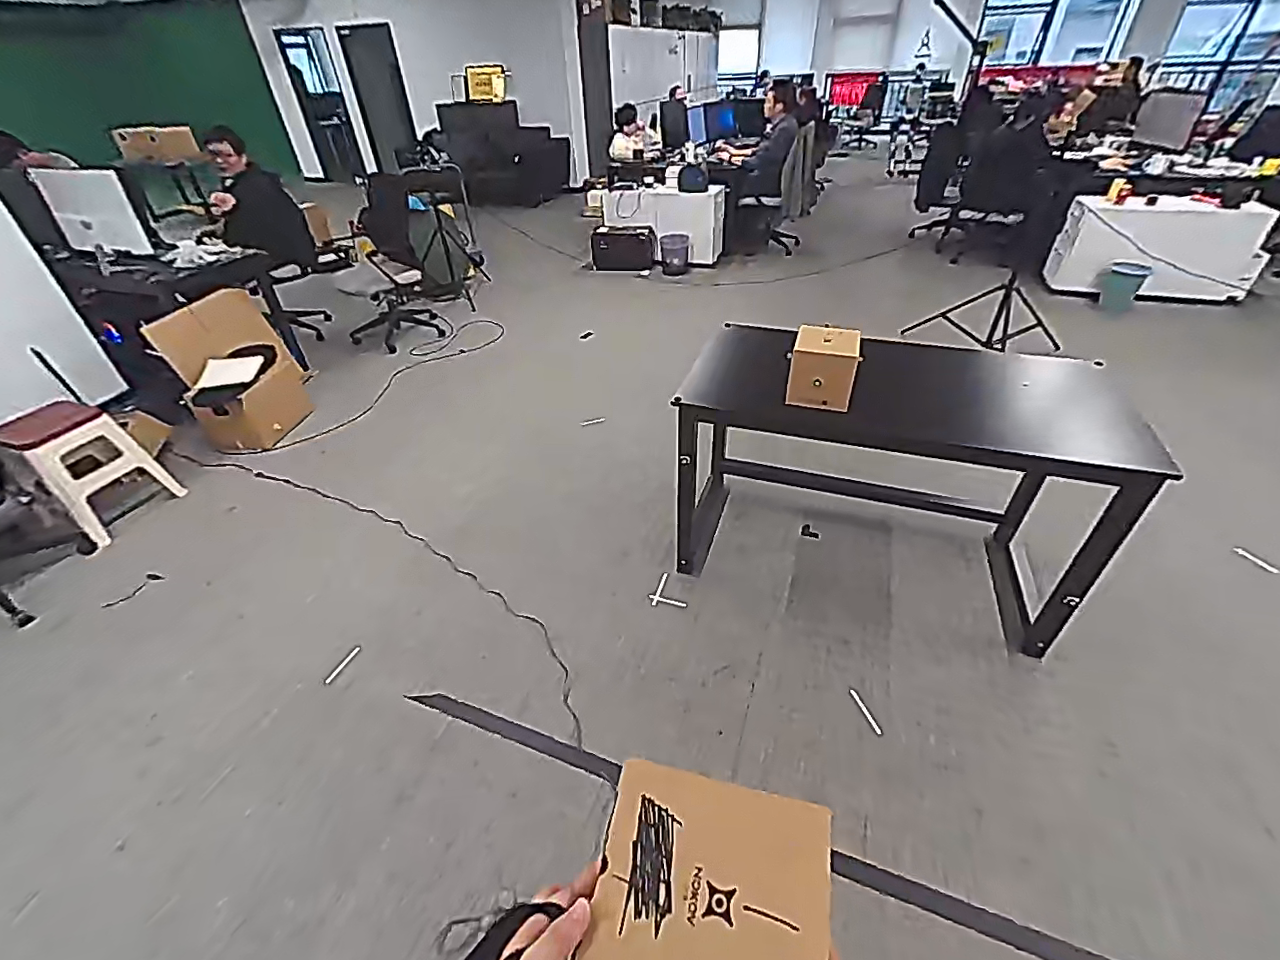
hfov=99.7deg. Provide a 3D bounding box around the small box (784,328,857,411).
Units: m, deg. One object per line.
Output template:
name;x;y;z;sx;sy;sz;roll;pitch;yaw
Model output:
small box;0.509;-0.312;1.528;0.168;0.176;0.179;11;39;16

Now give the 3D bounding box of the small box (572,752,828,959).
small box;0.057;0.368;0.468;0.179;0.176;0.168;8;46;12
